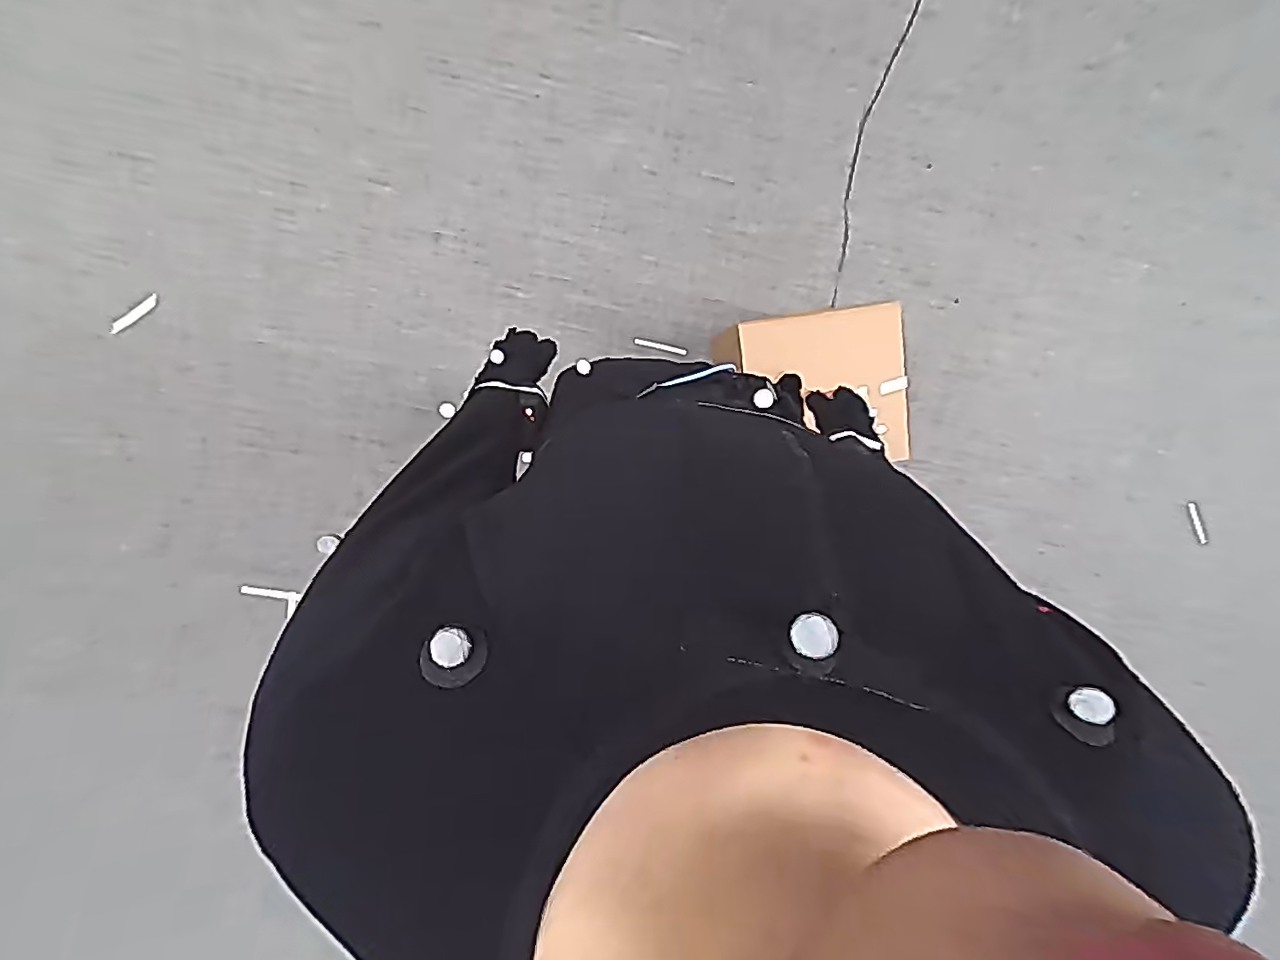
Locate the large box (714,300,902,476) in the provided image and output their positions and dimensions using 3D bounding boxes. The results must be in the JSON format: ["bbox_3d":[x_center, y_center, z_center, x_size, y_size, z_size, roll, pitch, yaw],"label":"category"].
[{"bbox_3d":[0.362,-0.210,1.254,0.320,0.408,0.320,-7,101,3],"label":"large box"}]
